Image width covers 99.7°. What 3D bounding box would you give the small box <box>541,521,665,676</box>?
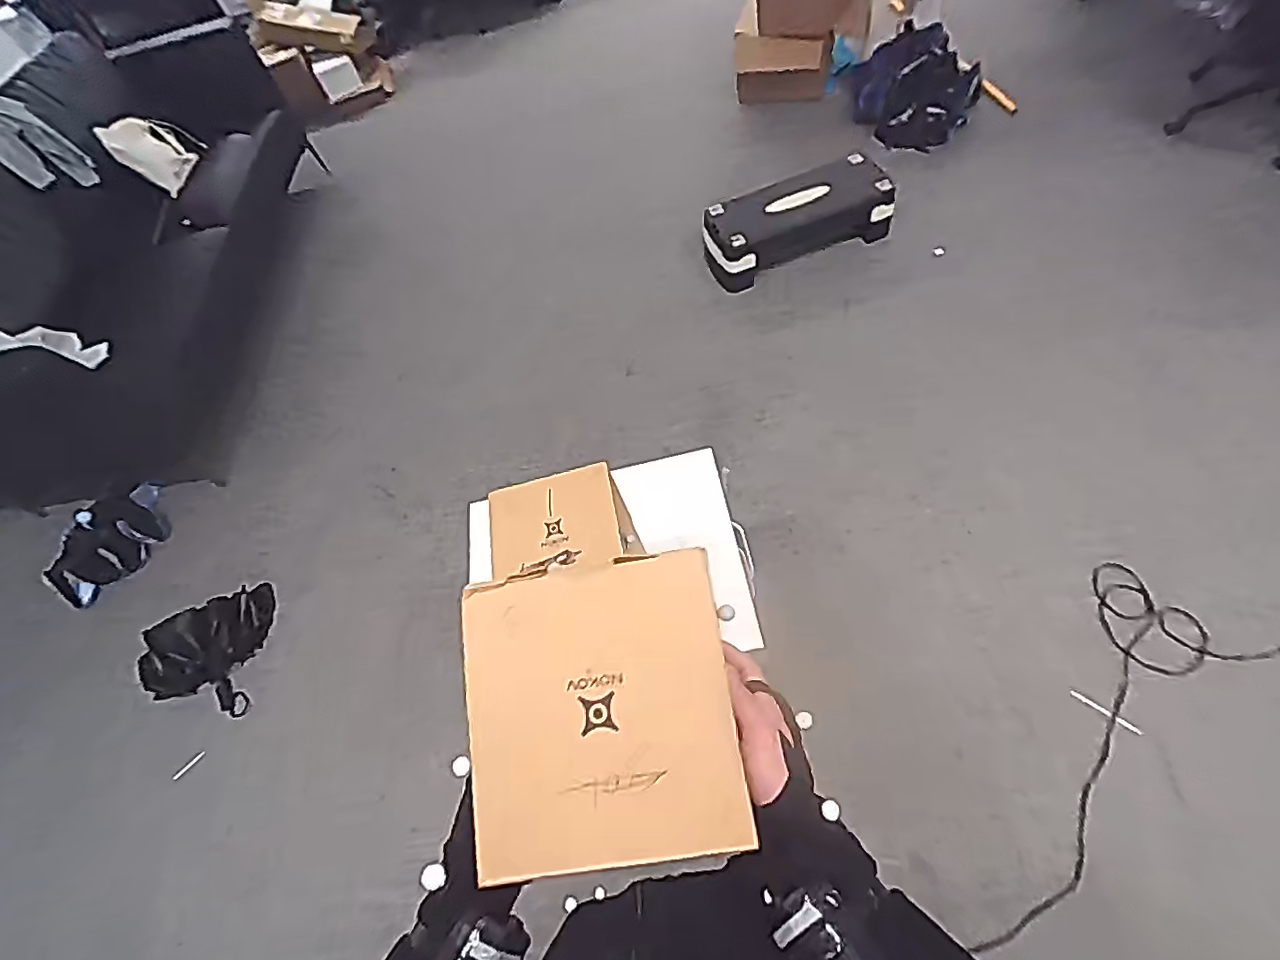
[{"bbox_3d":[-0.065,0.196,0.876,0.168,0.176,0.179,-17,56,2],"label":"small box"}]

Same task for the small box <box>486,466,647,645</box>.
[{"bbox_3d":[-0.095,0.113,0.737,0.168,0.176,0.179,-15,57,3],"label":"small box"}]
